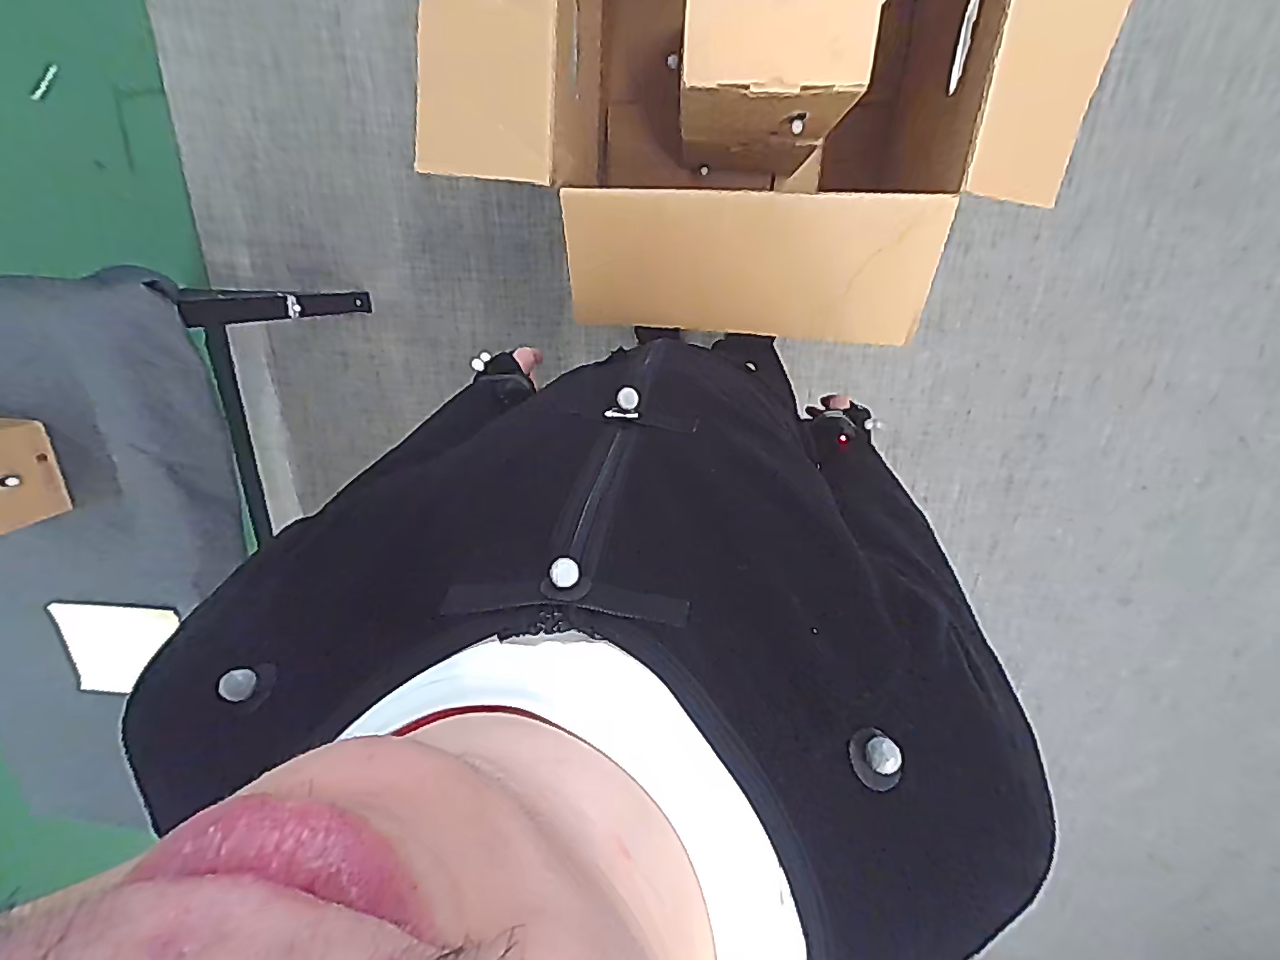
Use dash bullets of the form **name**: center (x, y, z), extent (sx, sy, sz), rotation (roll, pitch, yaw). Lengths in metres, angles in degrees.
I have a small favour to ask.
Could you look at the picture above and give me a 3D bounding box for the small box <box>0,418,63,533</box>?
- **small box**: center (-1.105, -0.005, 0.874), extent (0.179, 0.176, 0.168), rotation (3, 110, 4)
